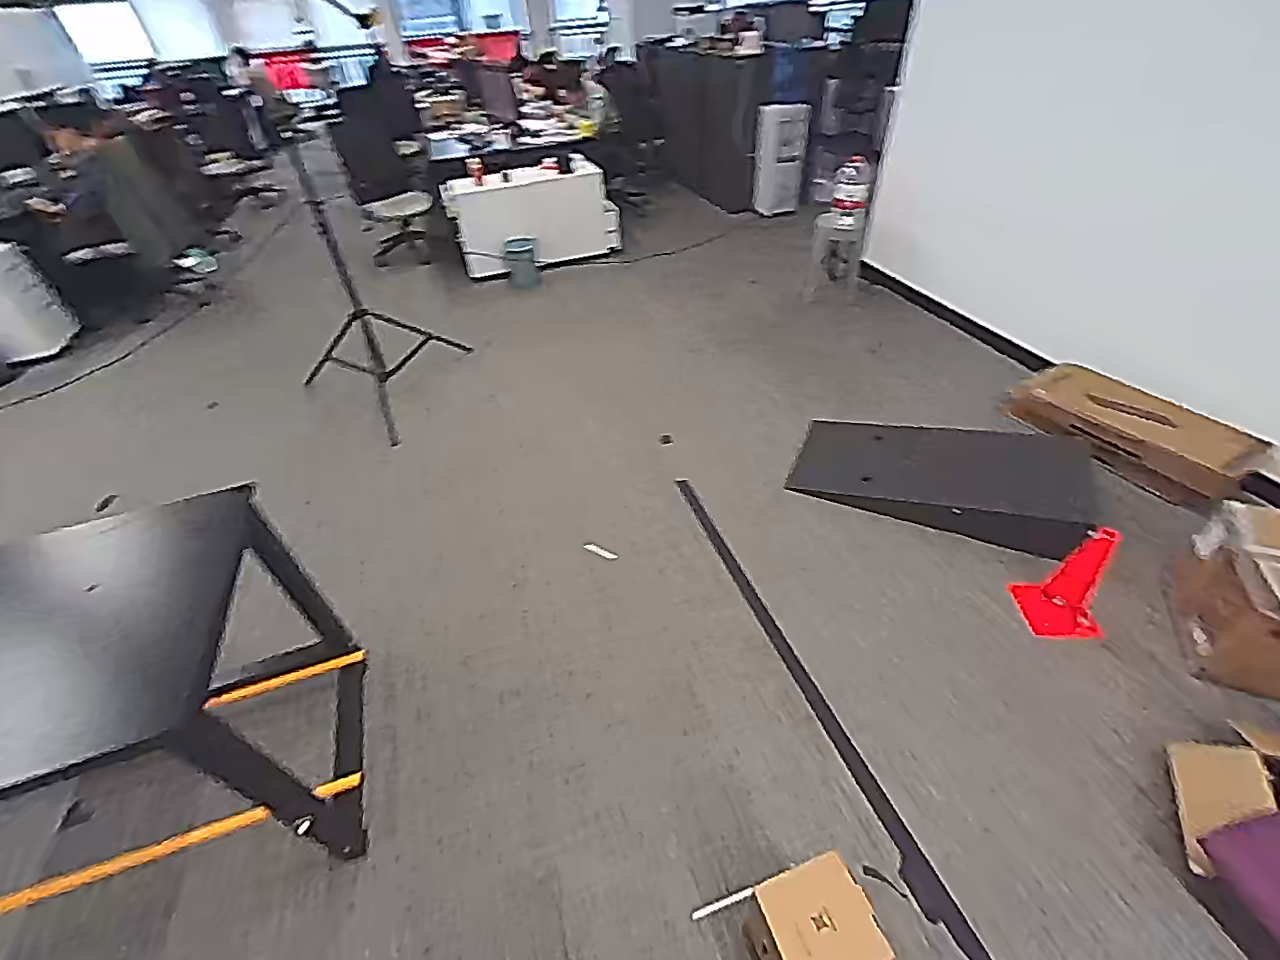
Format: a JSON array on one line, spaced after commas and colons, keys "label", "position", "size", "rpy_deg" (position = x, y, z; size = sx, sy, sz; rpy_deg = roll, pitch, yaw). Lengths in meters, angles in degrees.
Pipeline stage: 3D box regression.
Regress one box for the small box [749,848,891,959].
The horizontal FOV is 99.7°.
[{"label": "small box", "position": [0.312, 0.810, 0.977], "size": [0.179, 0.176, 0.168], "rpy_deg": [-17, 42, -11]}]
